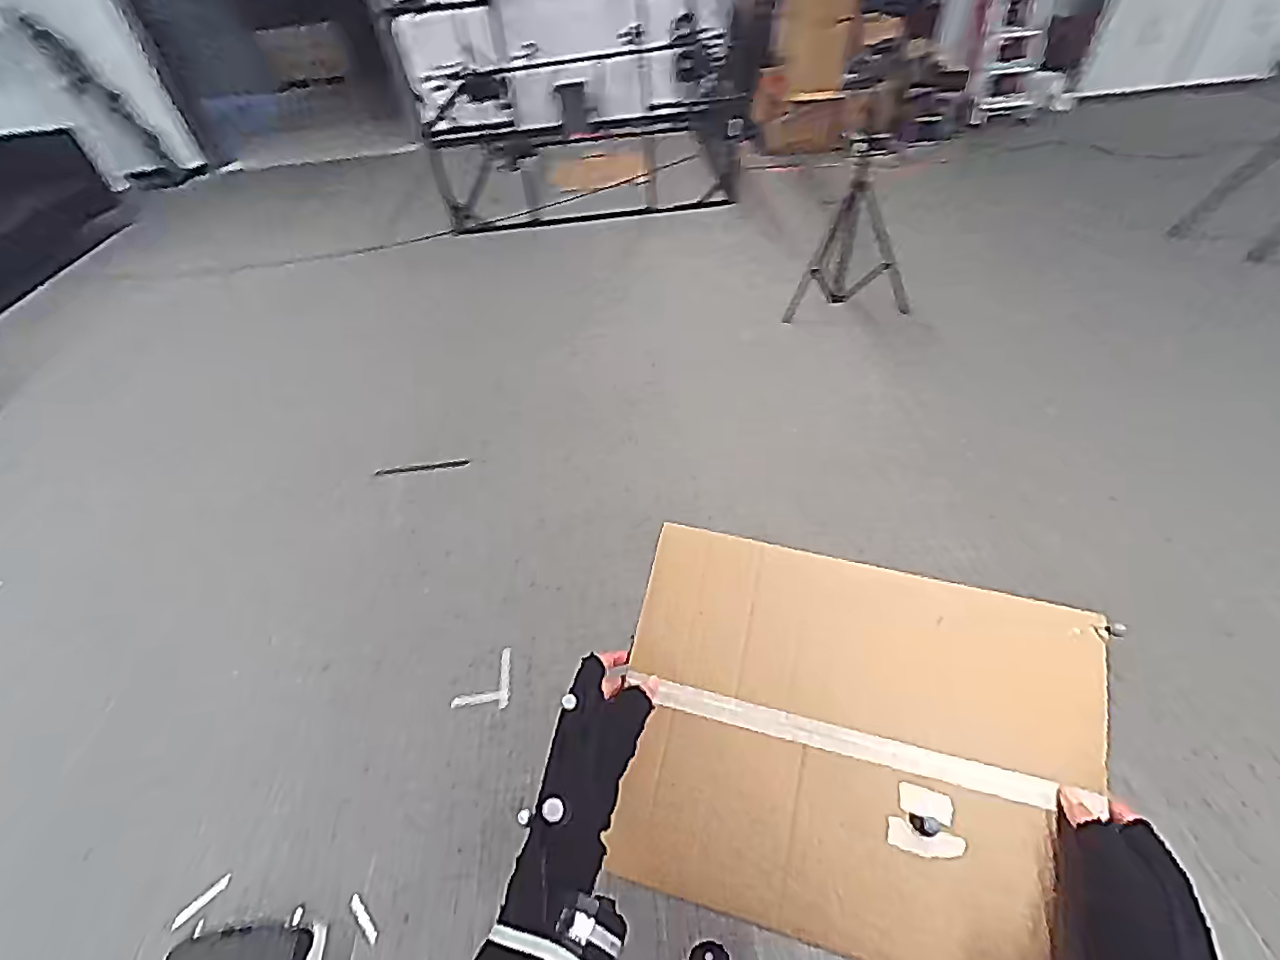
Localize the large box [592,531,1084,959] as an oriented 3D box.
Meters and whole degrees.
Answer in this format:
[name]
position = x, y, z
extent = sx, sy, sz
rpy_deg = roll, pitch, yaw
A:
[large box]
position = 0.191, 0.271, 0.629
extent = 0.408, 0.320, 0.320
rpy_deg = 10, 74, 9
